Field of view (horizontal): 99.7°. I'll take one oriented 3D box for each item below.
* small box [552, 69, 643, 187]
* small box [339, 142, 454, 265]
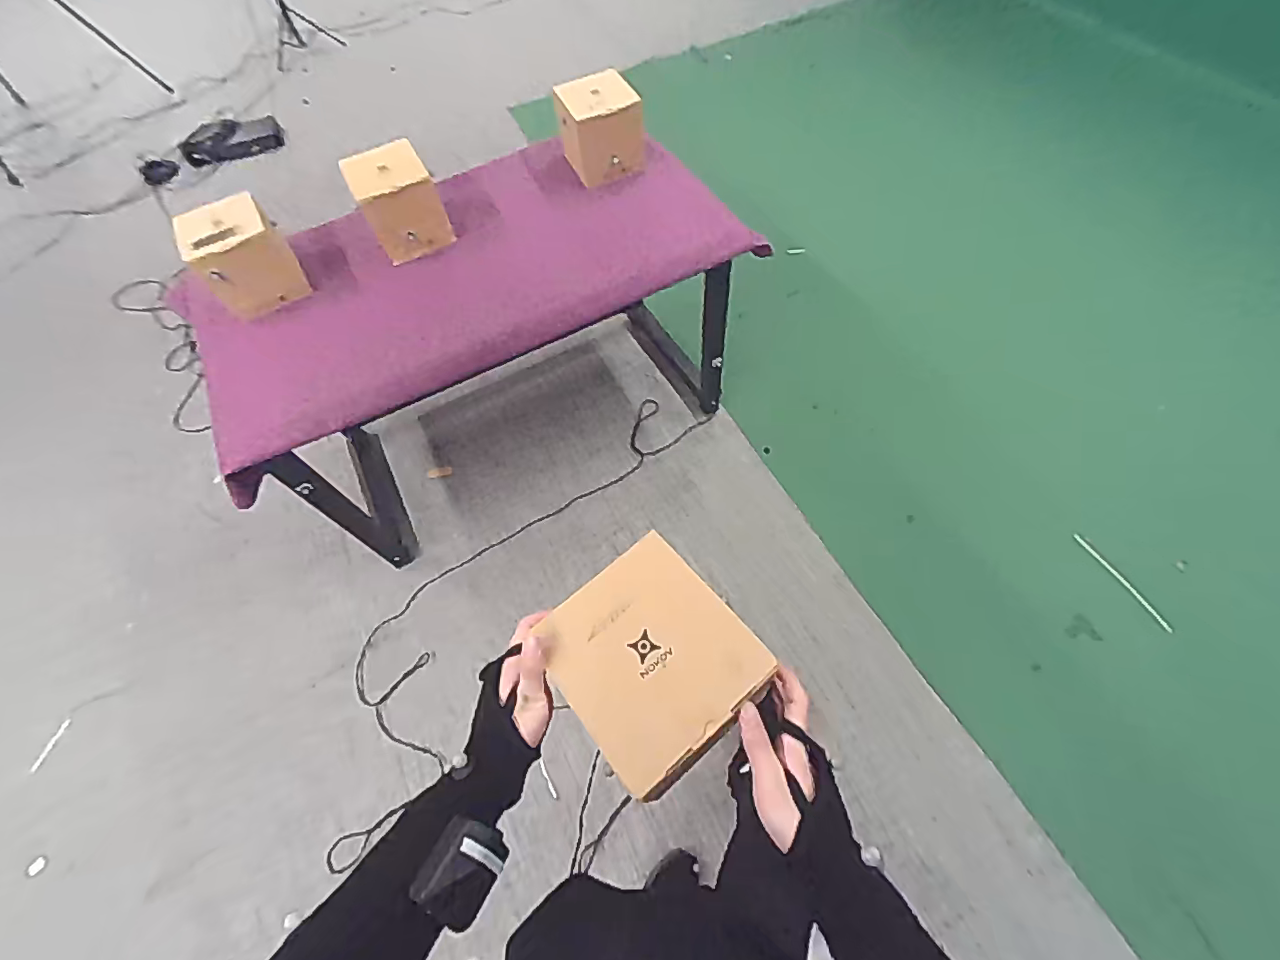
[{"bbox_3d":[-0.103,-0.870,1.345,0.168,0.176,0.179,-23,62,-7],"label":"small box"},{"bbox_3d":[-0.561,-0.639,1.260,0.168,0.176,0.179,-28,64,-11],"label":"small box"}]
